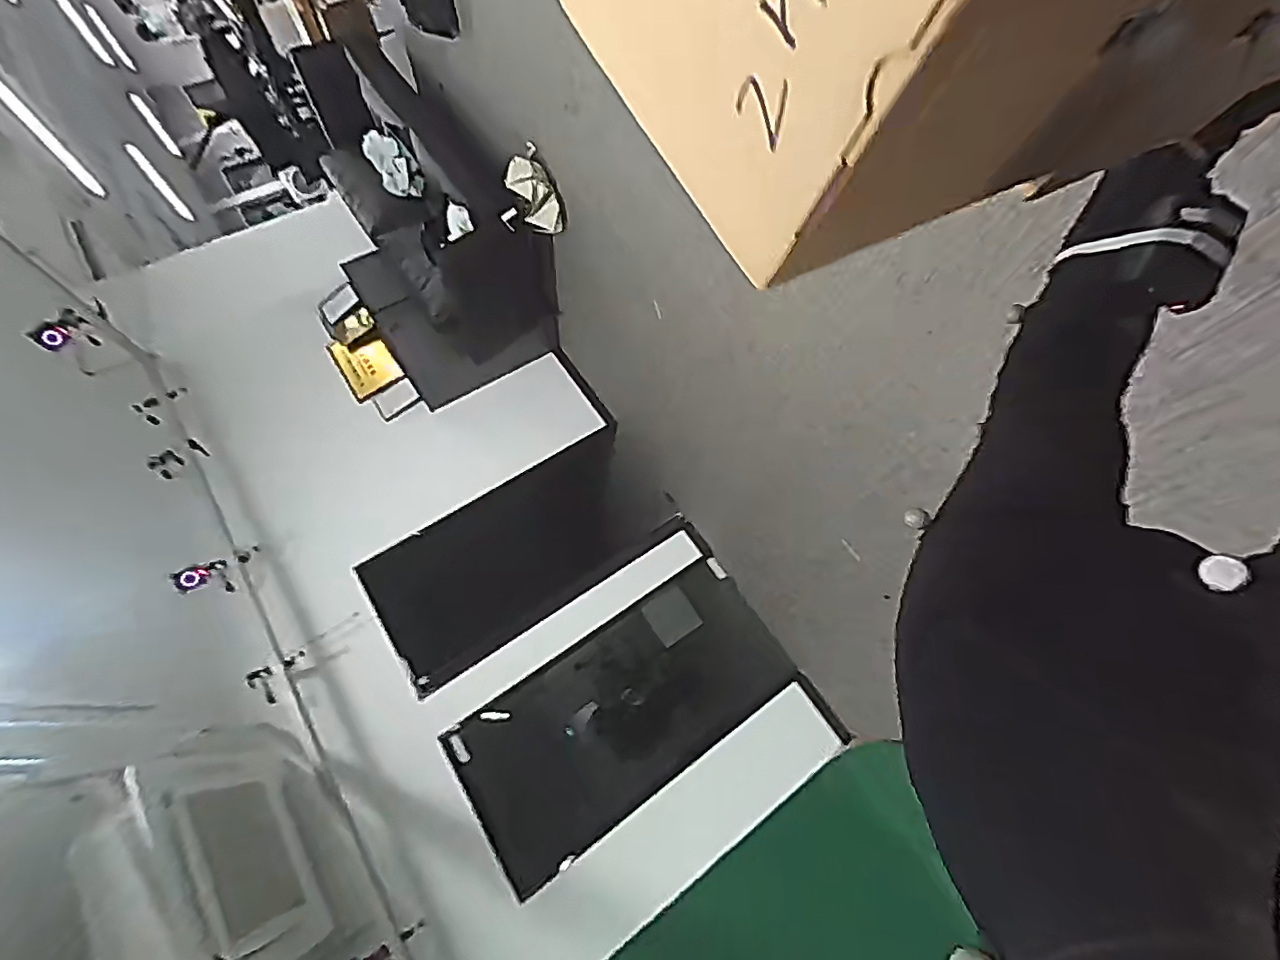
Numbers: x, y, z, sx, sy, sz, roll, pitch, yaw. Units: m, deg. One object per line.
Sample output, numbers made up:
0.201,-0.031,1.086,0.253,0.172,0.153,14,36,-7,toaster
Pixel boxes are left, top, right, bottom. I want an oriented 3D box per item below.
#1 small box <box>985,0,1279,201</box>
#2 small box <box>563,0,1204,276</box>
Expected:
0.231,-0.270,0.234,0.168,0.176,0.179,59,161,9,small box
0.088,-0.208,0.178,0.179,0.176,0.168,59,161,9,small box
